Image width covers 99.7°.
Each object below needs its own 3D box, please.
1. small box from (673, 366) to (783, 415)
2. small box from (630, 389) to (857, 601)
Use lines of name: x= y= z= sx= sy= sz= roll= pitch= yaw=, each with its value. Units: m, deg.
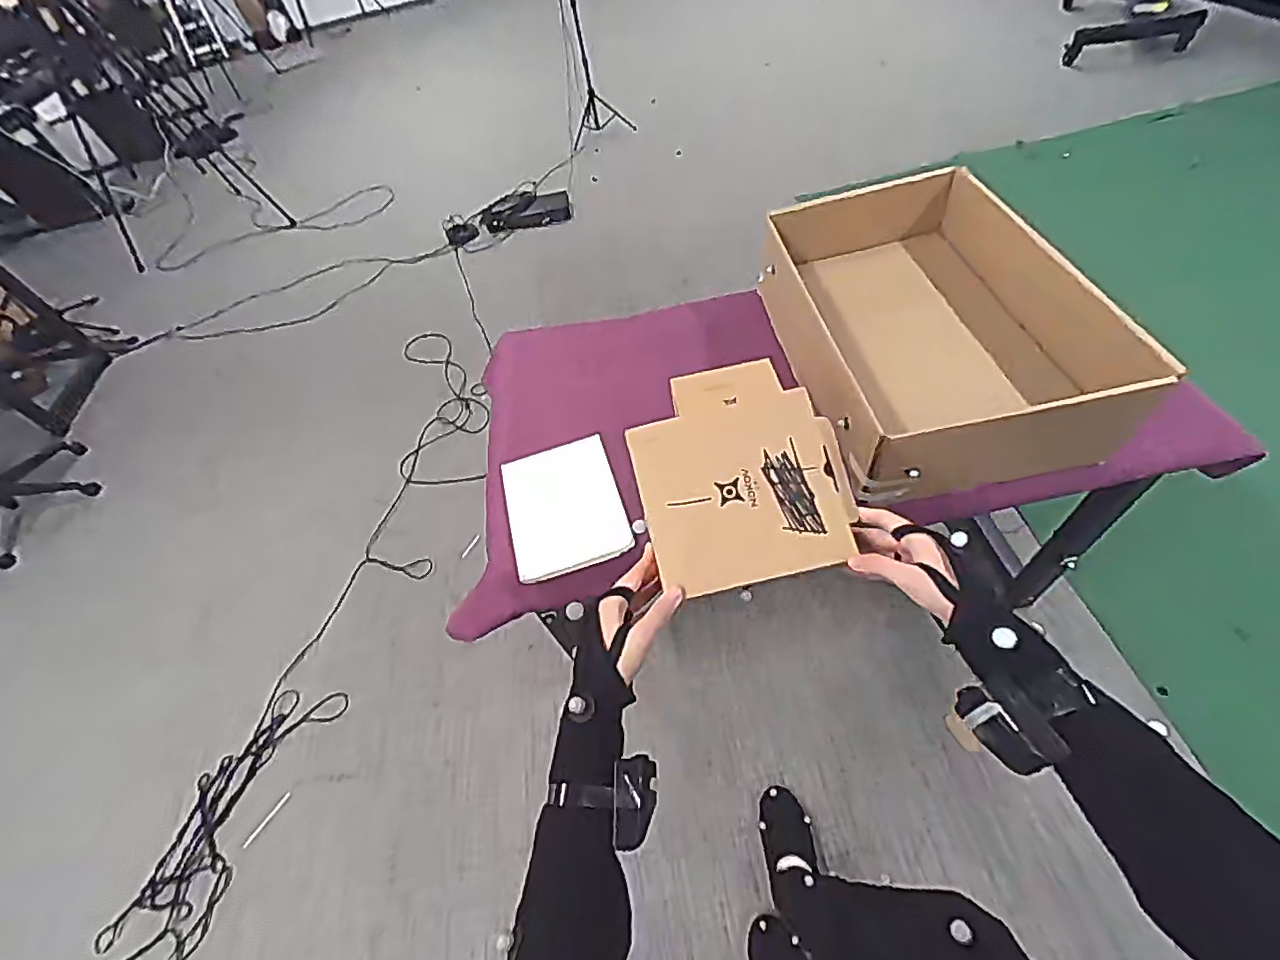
small box: x=0.155 y=-0.053 z=0.882 sx=0.168 sy=0.176 sz=0.179 roll=-11 pitch=50 yaw=3
small box: x=0.094 y=0.026 z=0.565 sx=0.179 sy=0.176 sz=0.168 roll=-13 pitch=76 yaw=1
